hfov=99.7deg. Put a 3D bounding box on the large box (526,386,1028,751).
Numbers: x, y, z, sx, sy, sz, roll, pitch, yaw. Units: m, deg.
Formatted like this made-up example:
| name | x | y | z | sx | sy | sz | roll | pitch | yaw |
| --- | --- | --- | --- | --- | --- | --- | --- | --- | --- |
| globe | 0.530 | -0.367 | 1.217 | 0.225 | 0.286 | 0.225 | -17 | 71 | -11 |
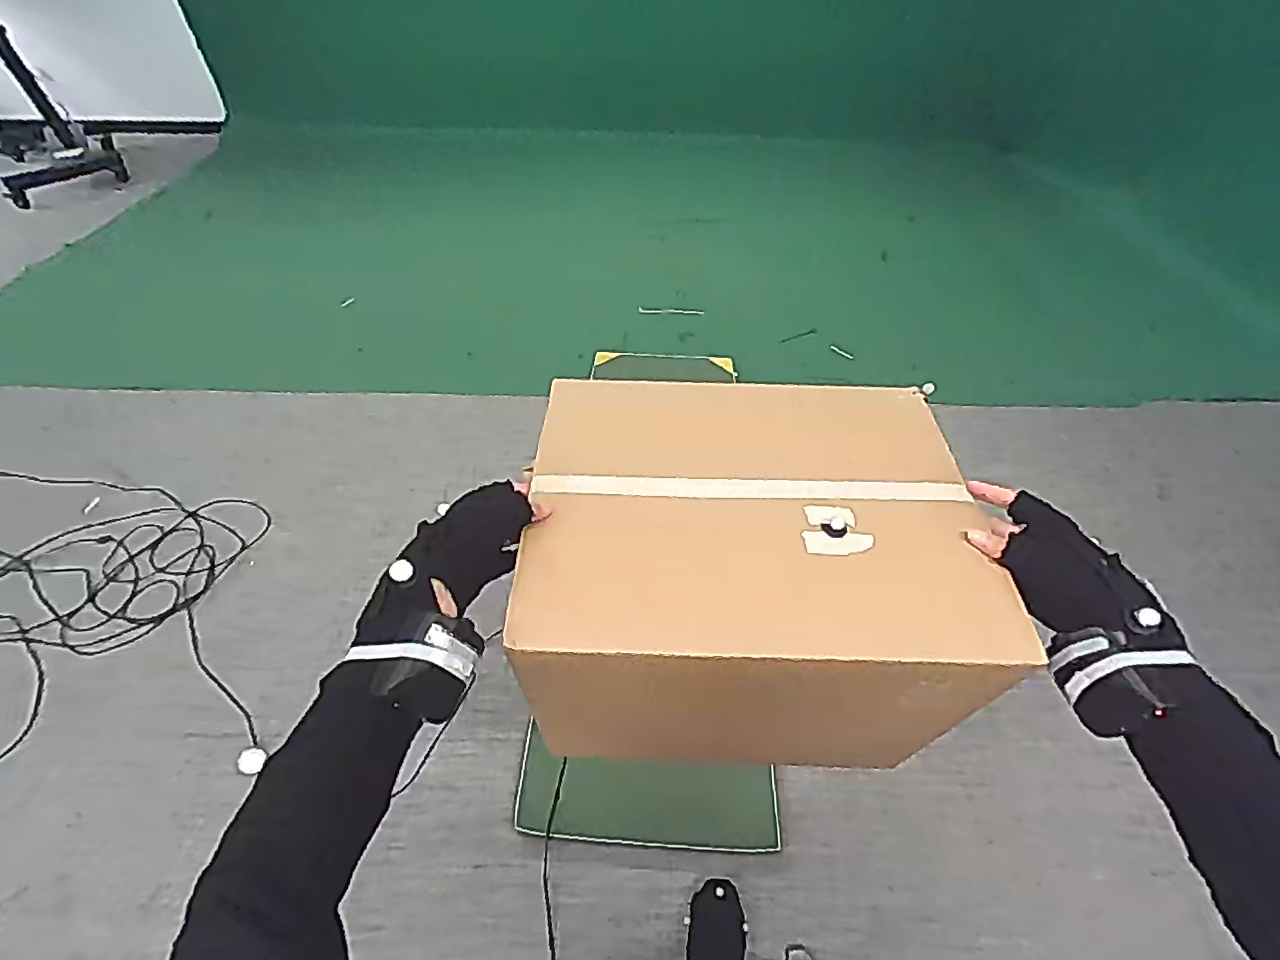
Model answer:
| name | x | y | z | sx | sy | sz | roll | pitch | yaw |
| --- | --- | --- | --- | --- | --- | --- | --- | --- | --- |
| large box | 0.104 | 0.109 | 0.627 | 0.408 | 0.320 | 0.320 | 2 | 50 | 0 |
